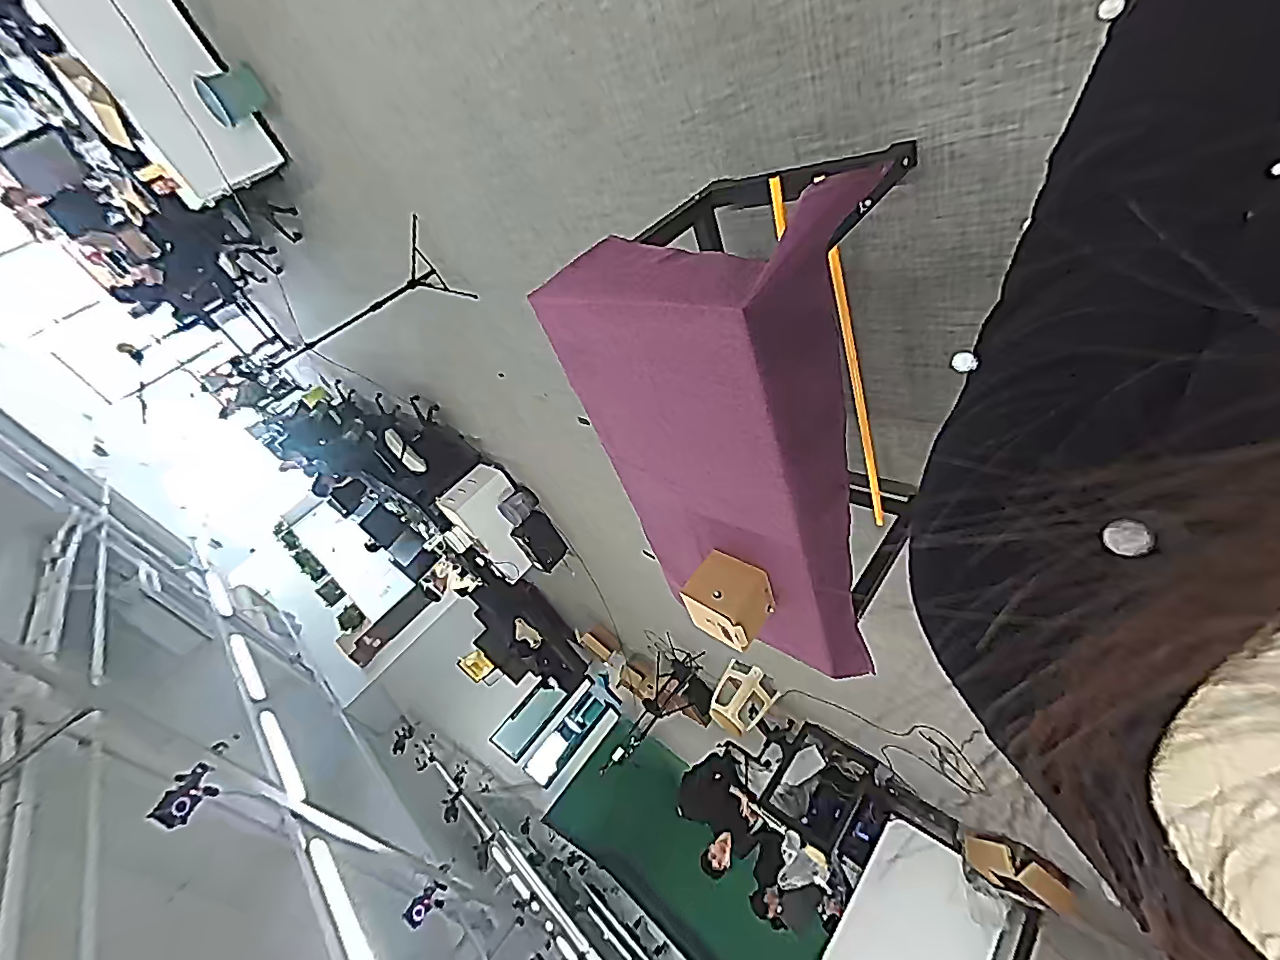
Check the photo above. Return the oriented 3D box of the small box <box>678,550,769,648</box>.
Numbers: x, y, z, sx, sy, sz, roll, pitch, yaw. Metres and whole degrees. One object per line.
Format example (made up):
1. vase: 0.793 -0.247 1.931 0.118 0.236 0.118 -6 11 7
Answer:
1. small box: 0.238 0.320 1.487 0.179 0.176 0.168 21 147 41
